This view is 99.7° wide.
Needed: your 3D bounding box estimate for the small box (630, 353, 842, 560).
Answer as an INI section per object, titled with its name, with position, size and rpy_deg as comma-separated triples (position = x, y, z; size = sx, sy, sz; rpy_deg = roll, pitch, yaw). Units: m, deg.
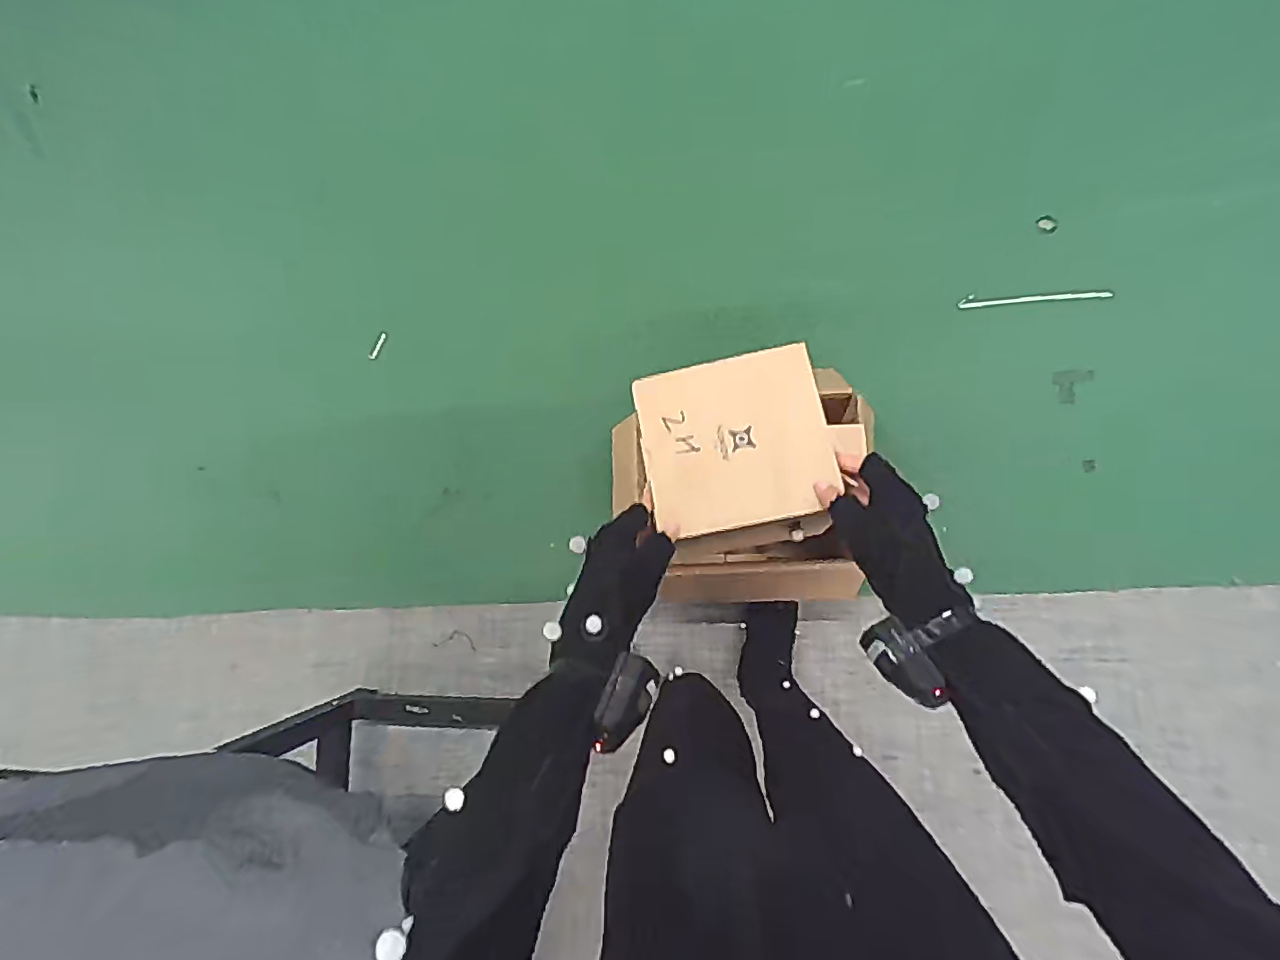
[small box]
position = 0.099, -0.013, 0.591
size = 0.179, 0.176, 0.168
rpy_deg = -12, 74, 8
